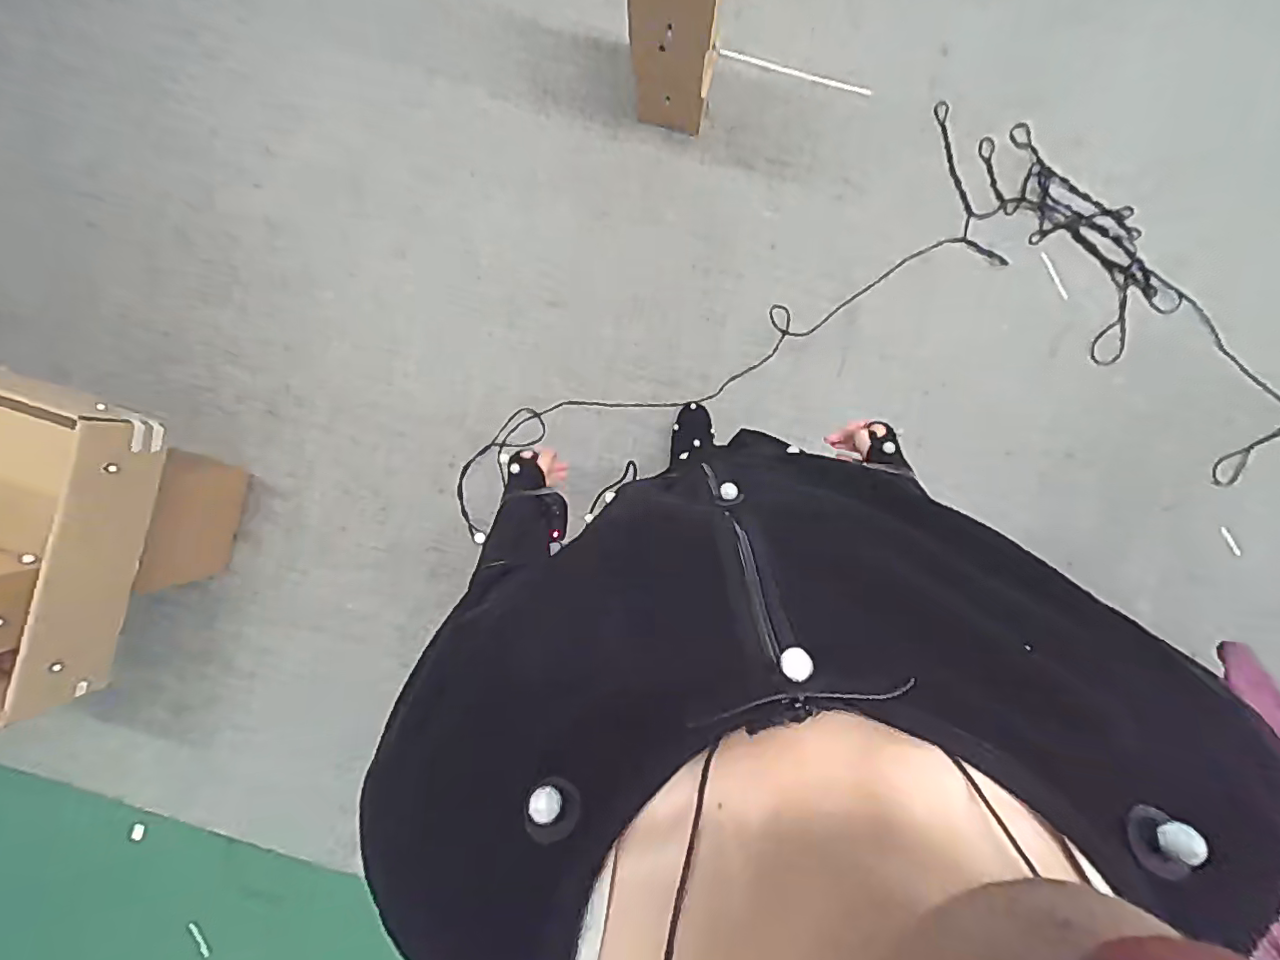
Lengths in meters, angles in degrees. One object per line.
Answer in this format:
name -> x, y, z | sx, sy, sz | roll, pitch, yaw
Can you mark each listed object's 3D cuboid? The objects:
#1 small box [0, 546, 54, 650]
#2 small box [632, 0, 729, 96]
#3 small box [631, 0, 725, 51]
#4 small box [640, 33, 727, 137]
small box -> -1.308, 0.231, 1.041 | 0.168, 0.176, 0.179 | 19, 93, 0
small box -> 0.090, -1.003, 1.204 | 0.179, 0.176, 0.168 | 16, 94, 1
small box -> 0.084, -0.979, 1.042 | 0.179, 0.176, 0.168 | 14, 94, 1
small box -> 0.106, -1.008, 1.367 | 0.179, 0.176, 0.168 | 16, 93, 1
